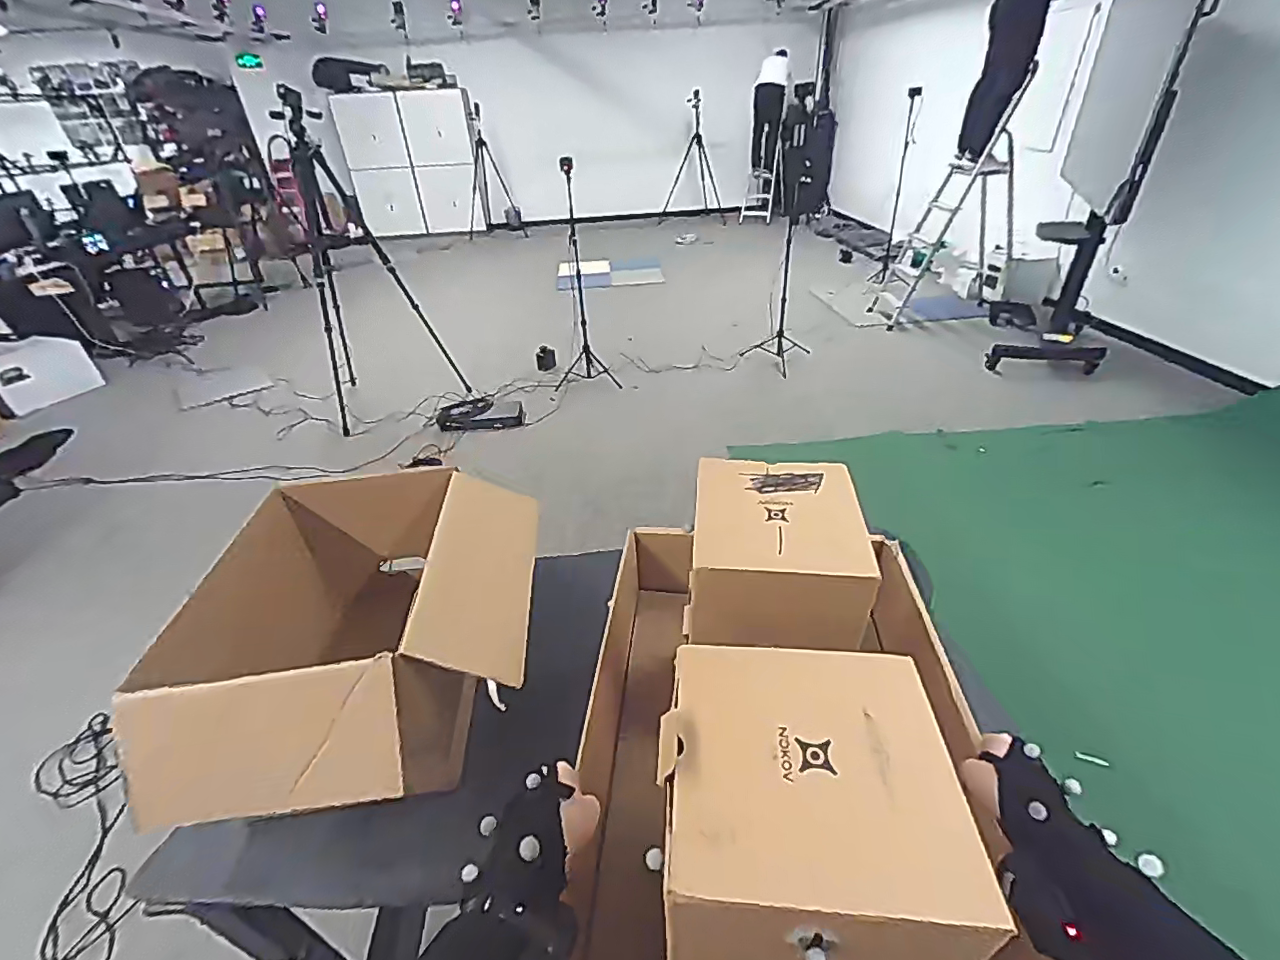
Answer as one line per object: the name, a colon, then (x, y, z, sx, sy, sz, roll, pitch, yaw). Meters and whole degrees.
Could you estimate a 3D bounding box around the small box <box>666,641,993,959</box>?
small box: (0.111, 0.243, 0.400, 0.179, 0.176, 0.168, 2, 35, 5)

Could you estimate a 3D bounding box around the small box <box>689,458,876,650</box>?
small box: (0.143, 0.095, 0.602, 0.168, 0.176, 0.179, 3, 38, 7)
